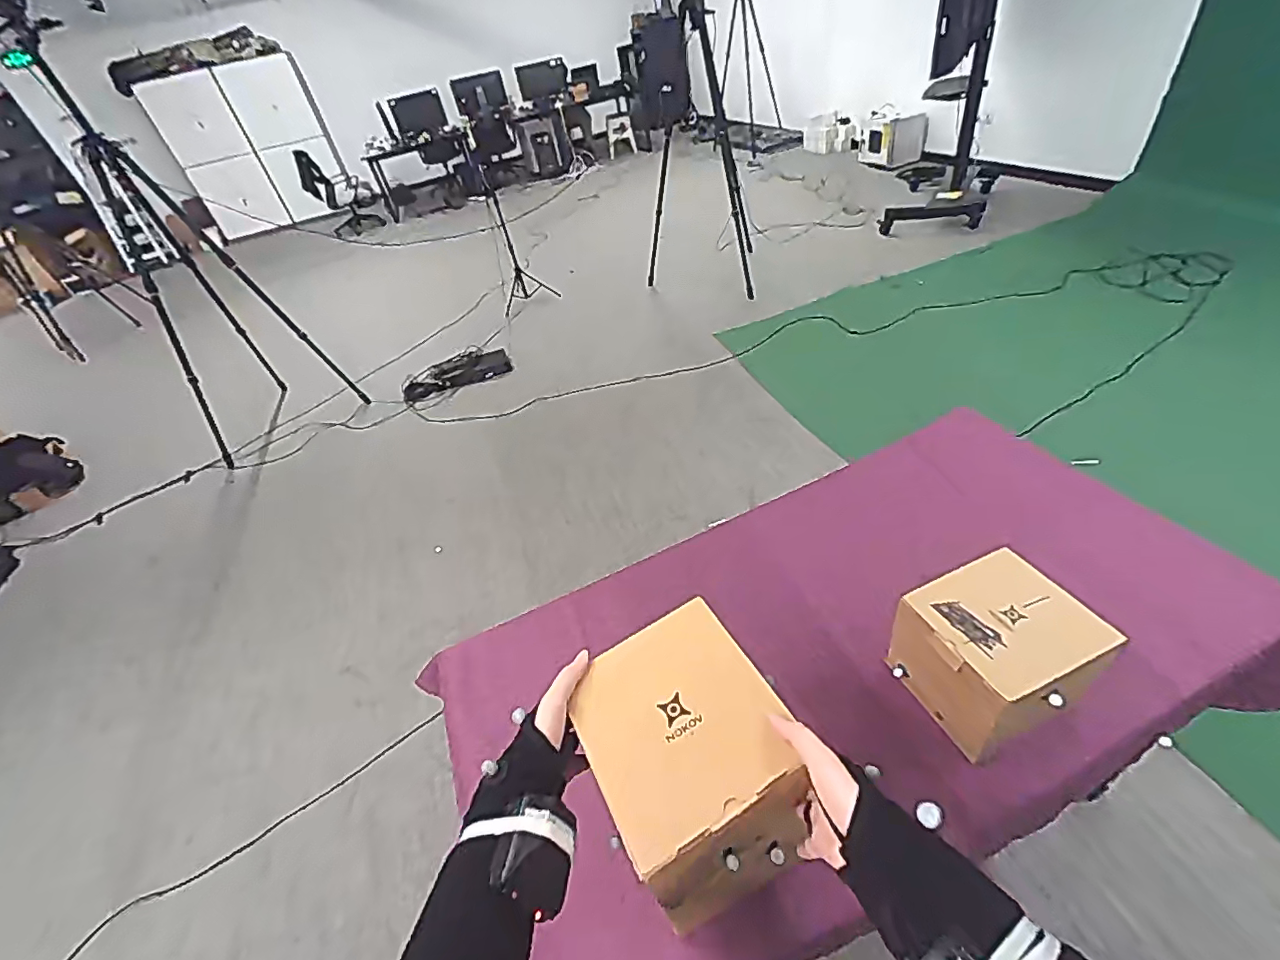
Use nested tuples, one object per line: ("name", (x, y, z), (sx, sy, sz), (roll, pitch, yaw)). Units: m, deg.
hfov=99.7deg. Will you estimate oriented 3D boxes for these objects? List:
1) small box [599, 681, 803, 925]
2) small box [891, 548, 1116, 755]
("small box", (0.072, 0.384, 0.647), (0.179, 0.176, 0.168), (-24, 41, -11))
("small box", (0.459, 0.229, 0.719), (0.179, 0.176, 0.168), (-21, 41, -10))
